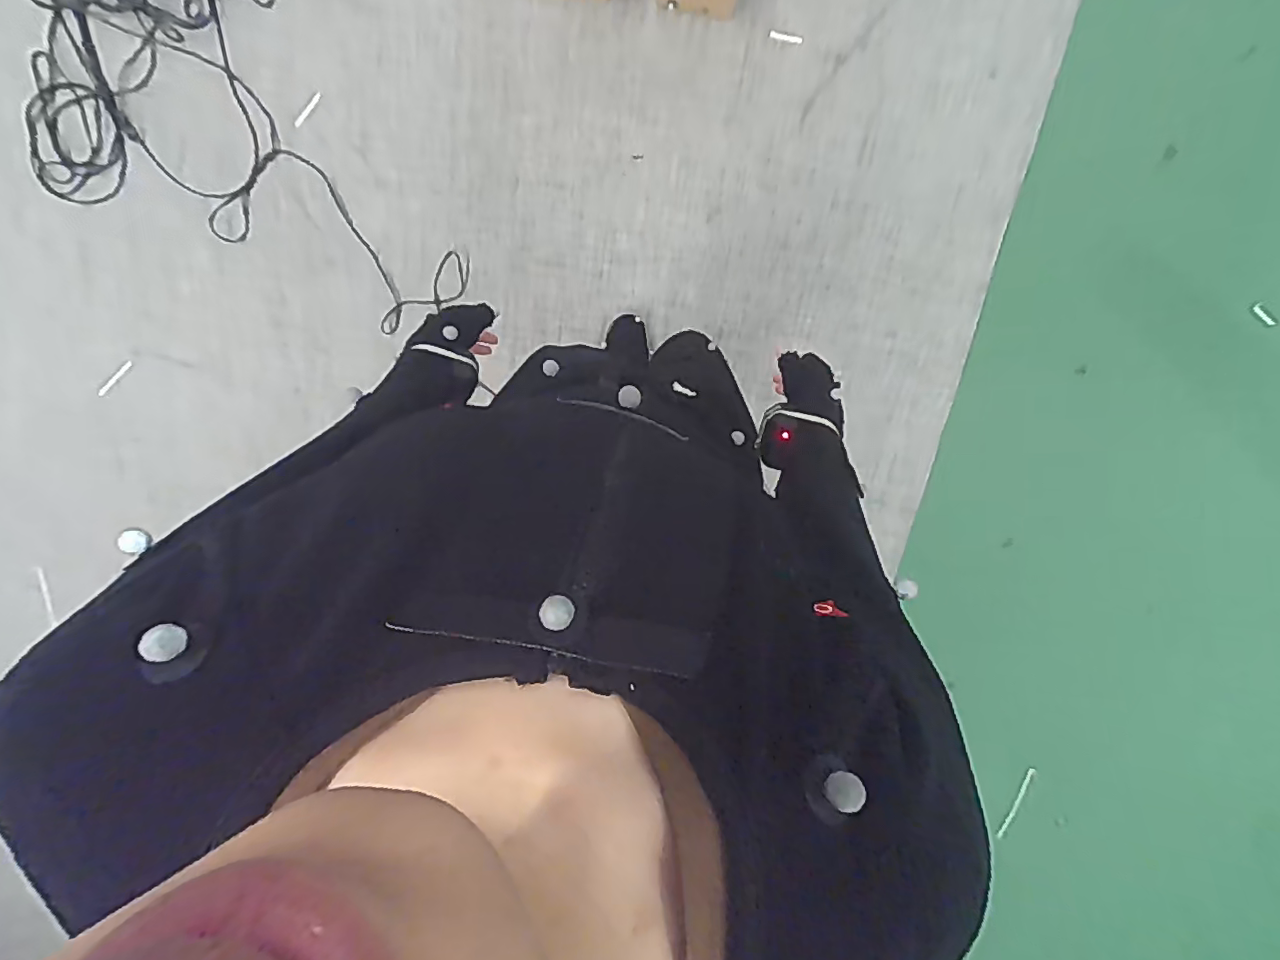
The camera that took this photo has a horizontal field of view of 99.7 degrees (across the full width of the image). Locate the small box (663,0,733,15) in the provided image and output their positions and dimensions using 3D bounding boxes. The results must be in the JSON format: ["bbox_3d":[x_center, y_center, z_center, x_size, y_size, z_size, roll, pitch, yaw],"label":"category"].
[{"bbox_3d":[0.123,-1.074,1.071,0.168,0.176,0.179,8,107,-1],"label":"small box"}]
